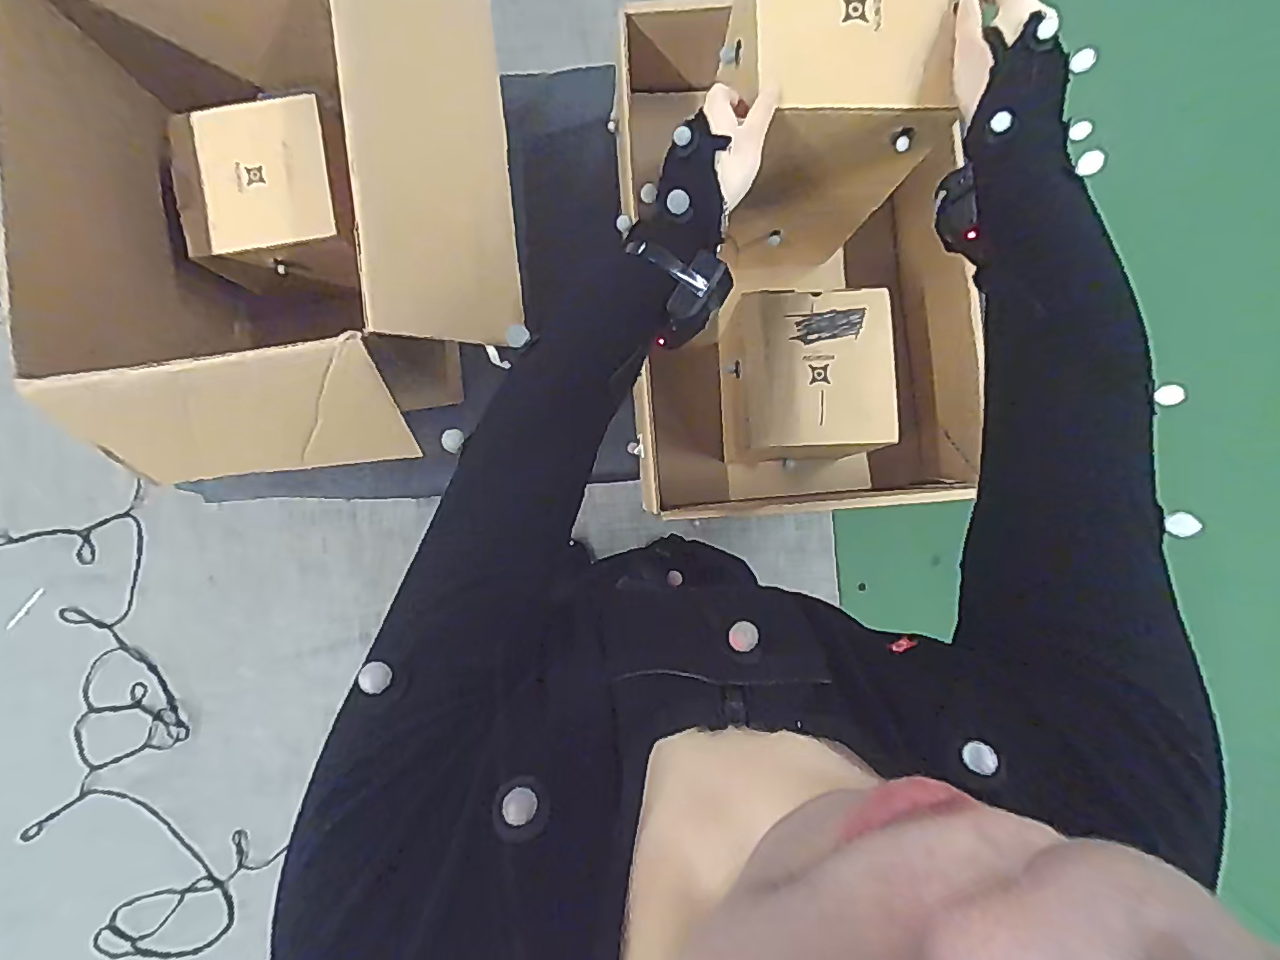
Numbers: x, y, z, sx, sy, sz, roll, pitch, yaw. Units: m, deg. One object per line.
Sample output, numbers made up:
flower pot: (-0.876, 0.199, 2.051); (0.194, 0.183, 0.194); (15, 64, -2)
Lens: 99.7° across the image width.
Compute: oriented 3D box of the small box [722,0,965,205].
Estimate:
small box: (0.177, -0.387, 0.524); (0.179, 0.176, 0.168); (-2, 91, -2)

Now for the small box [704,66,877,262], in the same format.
small box: (0.176, -0.391, 0.687); (0.179, 0.176, 0.168); (-4, 91, 0)
